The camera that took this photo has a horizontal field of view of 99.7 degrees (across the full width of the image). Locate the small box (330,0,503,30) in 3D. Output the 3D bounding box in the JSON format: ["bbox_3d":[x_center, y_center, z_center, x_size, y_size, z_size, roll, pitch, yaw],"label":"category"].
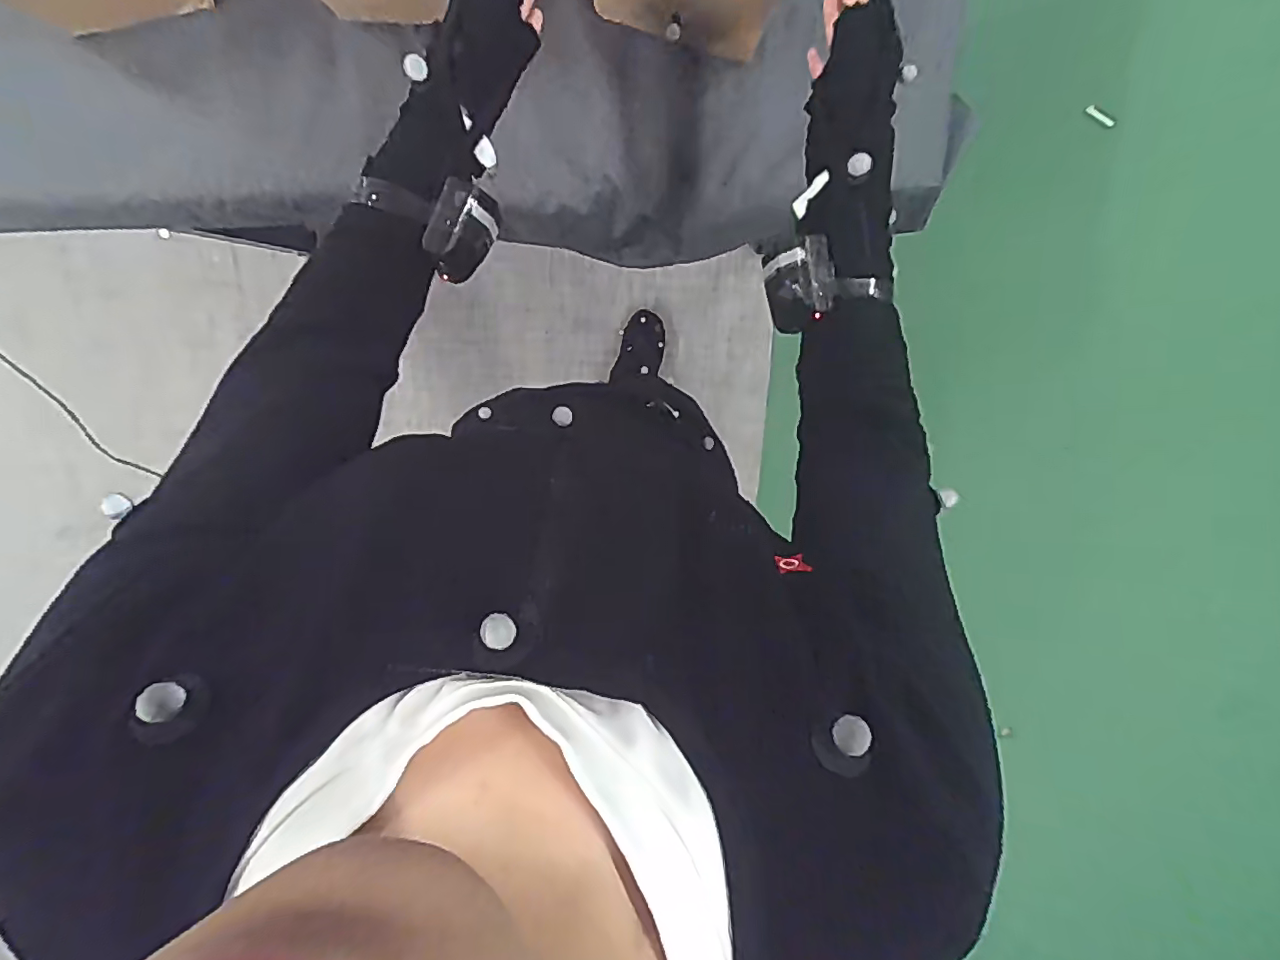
[{"bbox_3d":[-0.232,-0.545,0.487,0.179,0.176,0.168,2,106,-1],"label":"small box"}]

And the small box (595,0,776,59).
[{"bbox_3d":[0.055,-0.525,0.488,0.179,0.176,0.168,15,106,-4],"label":"small box"}]
